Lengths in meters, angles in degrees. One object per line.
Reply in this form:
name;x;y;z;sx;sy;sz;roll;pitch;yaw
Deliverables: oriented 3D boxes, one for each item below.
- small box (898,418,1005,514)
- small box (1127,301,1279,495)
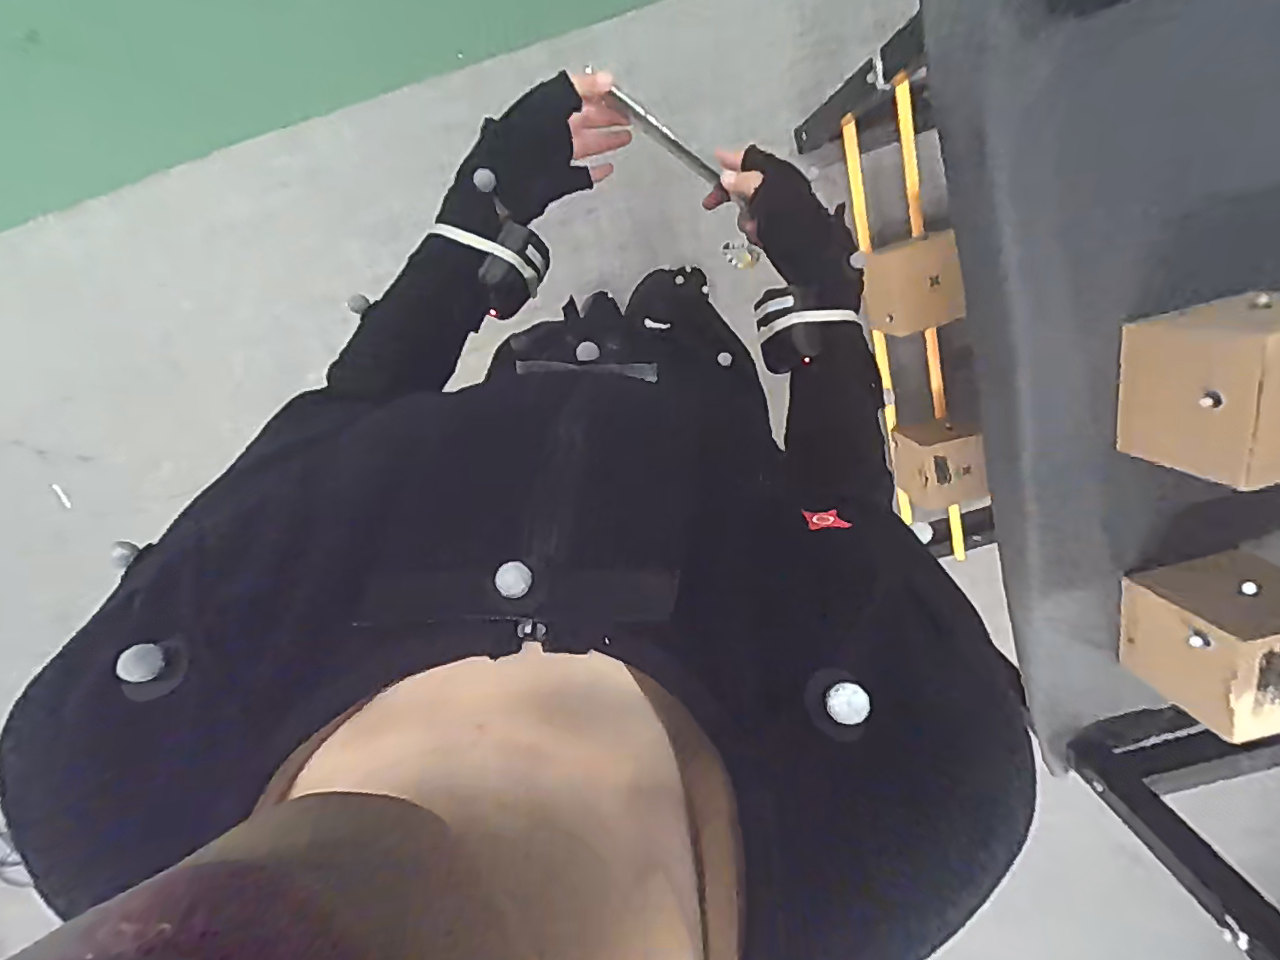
small box;0.743;-0.039;1.309;0.179;0.176;0.168;-13;109;4
small box;0.718;-0.105;0.626;0.168;0.176;0.179;-14;109;4
